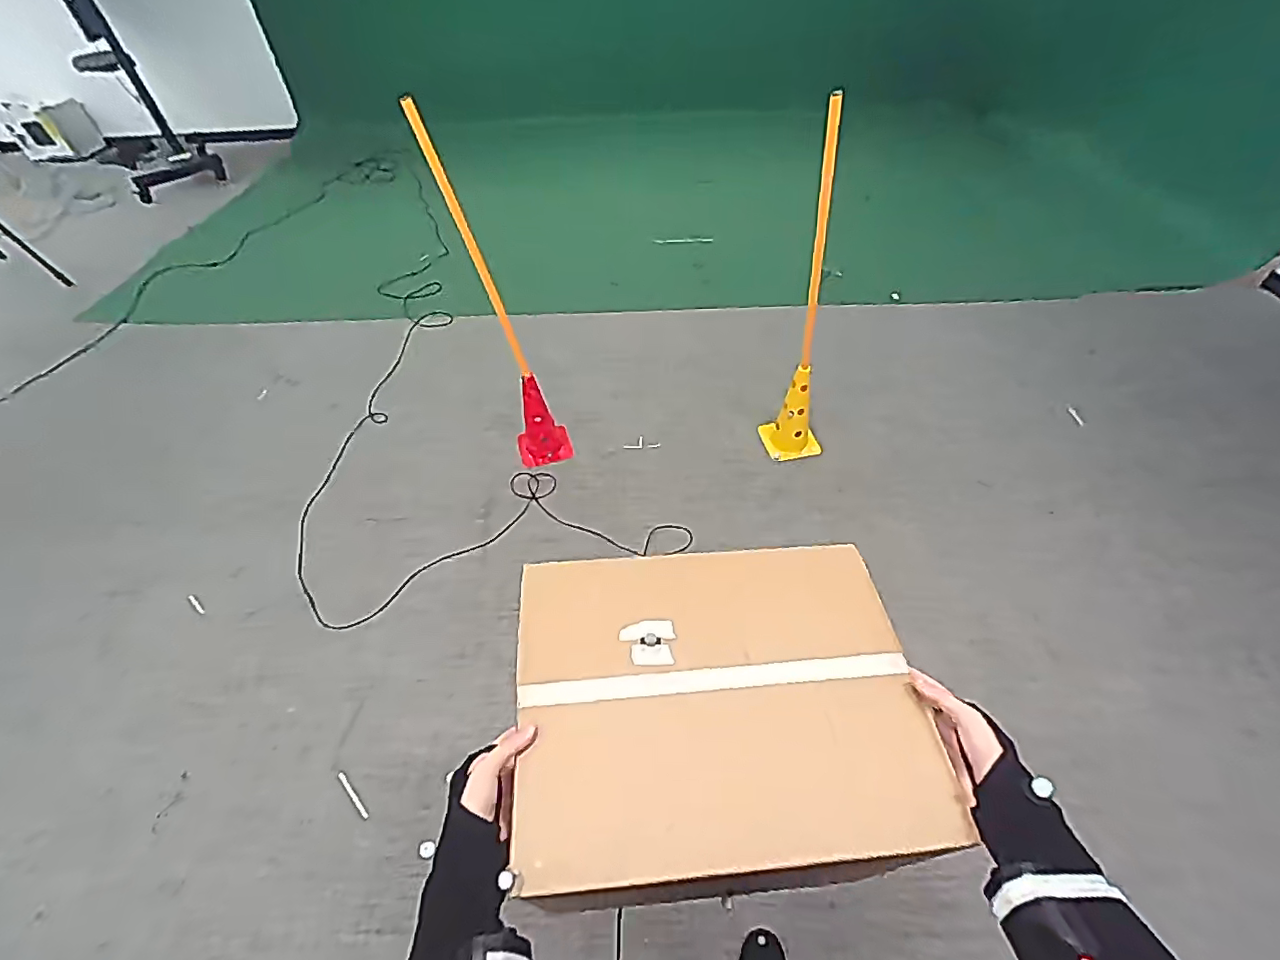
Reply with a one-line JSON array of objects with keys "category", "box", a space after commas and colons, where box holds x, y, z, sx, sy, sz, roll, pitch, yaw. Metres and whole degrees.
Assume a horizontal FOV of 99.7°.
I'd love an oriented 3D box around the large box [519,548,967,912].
[{"category": "large box", "box": [0.080, 0.311, 0.670, 0.408, 0.320, 0.320, -4, 48, -4]}]
